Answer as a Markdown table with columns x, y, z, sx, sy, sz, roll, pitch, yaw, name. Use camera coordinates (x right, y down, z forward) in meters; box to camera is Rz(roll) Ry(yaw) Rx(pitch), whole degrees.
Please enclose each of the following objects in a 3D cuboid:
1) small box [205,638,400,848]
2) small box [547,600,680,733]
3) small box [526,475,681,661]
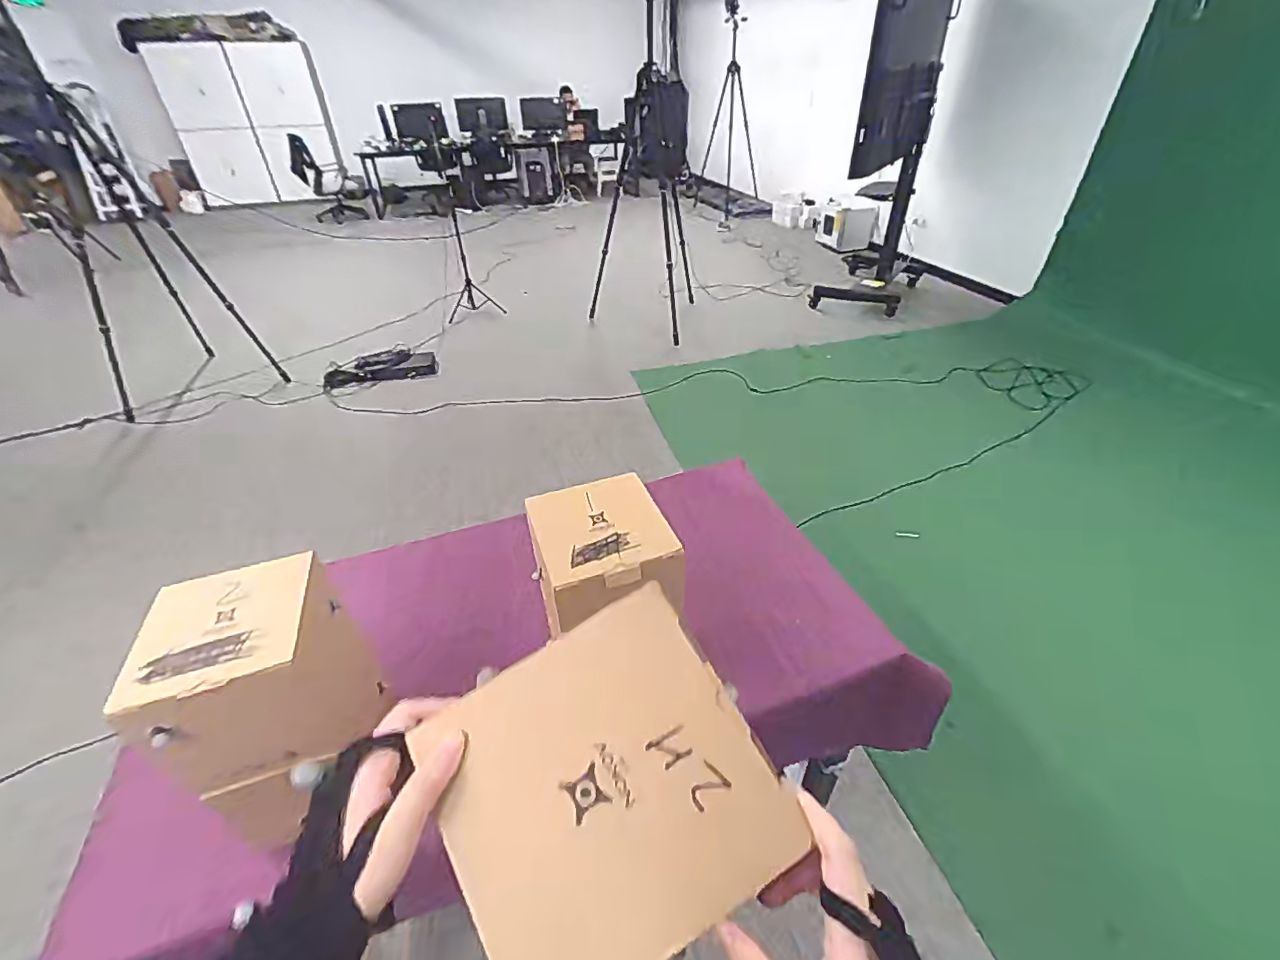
| x | y | z | sx | sy | sz | roll | pitch | yaw | name |
| --- | --- | --- | --- | --- | --- | --- | --- | --- | --- |
| -0.439 | 0.355 | 0.739 | 0.168 | 0.176 | 0.179 | -14 | 40 | -14 | small box |
| -0.045 | 0.256 | 0.848 | 0.168 | 0.176 | 0.179 | -15 | 39 | -14 | small box |
| -0.049 | 0.124 | 0.749 | 0.168 | 0.176 | 0.179 | -14 | 39 | -15 | small box |
